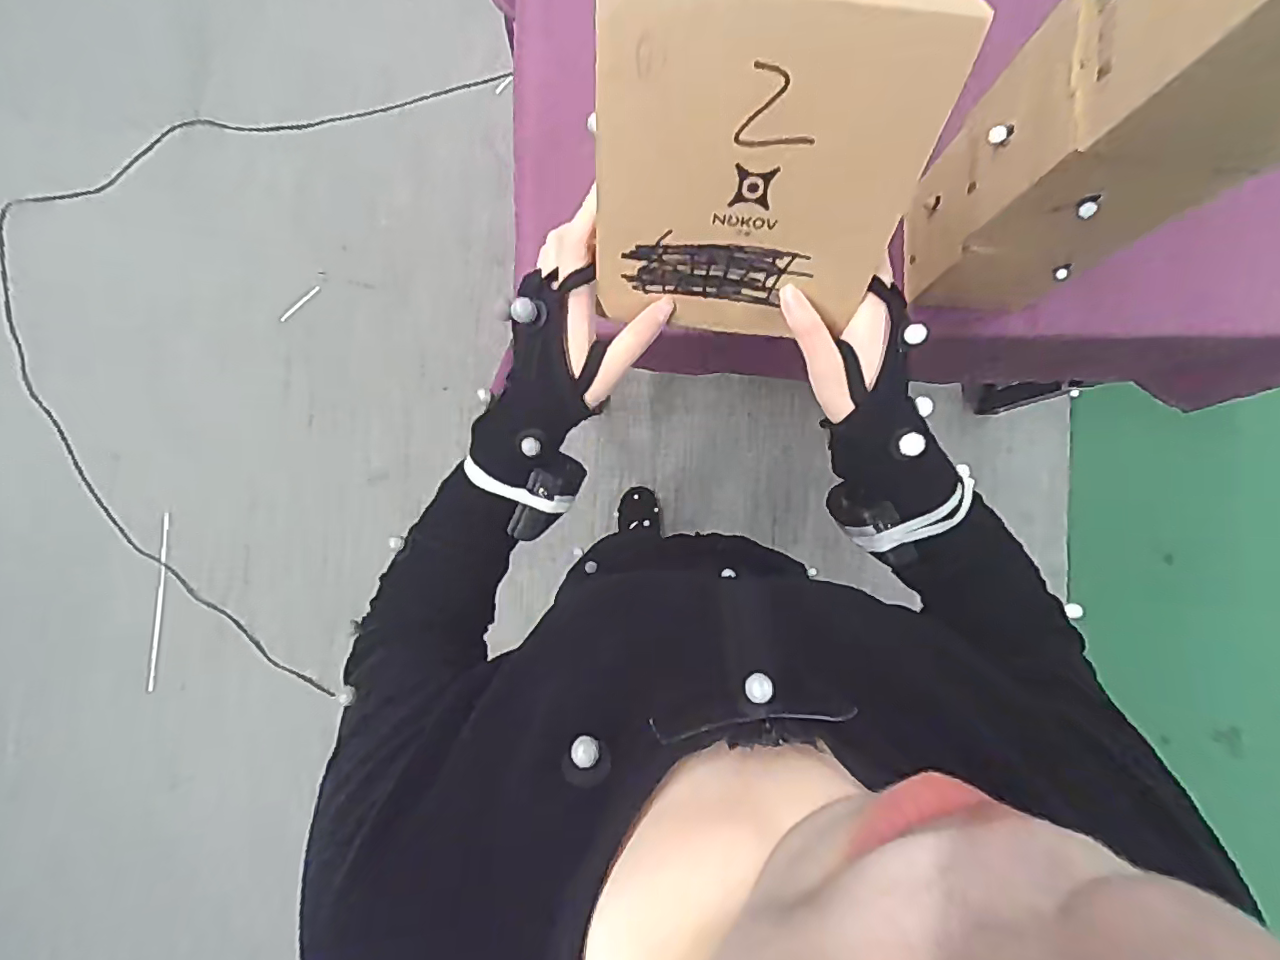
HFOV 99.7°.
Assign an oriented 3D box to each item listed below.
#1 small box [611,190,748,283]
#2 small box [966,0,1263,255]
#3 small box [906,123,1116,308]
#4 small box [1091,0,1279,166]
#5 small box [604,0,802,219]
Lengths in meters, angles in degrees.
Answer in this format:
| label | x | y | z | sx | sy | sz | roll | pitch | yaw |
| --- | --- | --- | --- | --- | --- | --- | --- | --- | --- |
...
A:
| label | x | y | z | sx | sy | sz | roll | pitch | yaw |
| --- | --- | --- | --- | --- | --- | --- | --- | --- | --- |
| small box | 0.053 | -0.382 | 0.726 | 0.168 | 0.176 | 0.179 | 3 | 86 | 0 |
| small box | 0.471 | -0.354 | 0.561 | 0.179 | 0.176 | 0.168 | 5 | 86 | 1 |
| small box | 0.479 | -0.342 | 0.725 | 0.179 | 0.176 | 0.168 | 1 | 86 | 0 |
| small box | 0.481 | -0.363 | 0.397 | 0.179 | 0.176 | 0.168 | 6 | 86 | -1 |
| small box | 0.058 | -0.393 | 0.563 | 0.179 | 0.176 | 0.168 | 2 | 87 | 0 |
